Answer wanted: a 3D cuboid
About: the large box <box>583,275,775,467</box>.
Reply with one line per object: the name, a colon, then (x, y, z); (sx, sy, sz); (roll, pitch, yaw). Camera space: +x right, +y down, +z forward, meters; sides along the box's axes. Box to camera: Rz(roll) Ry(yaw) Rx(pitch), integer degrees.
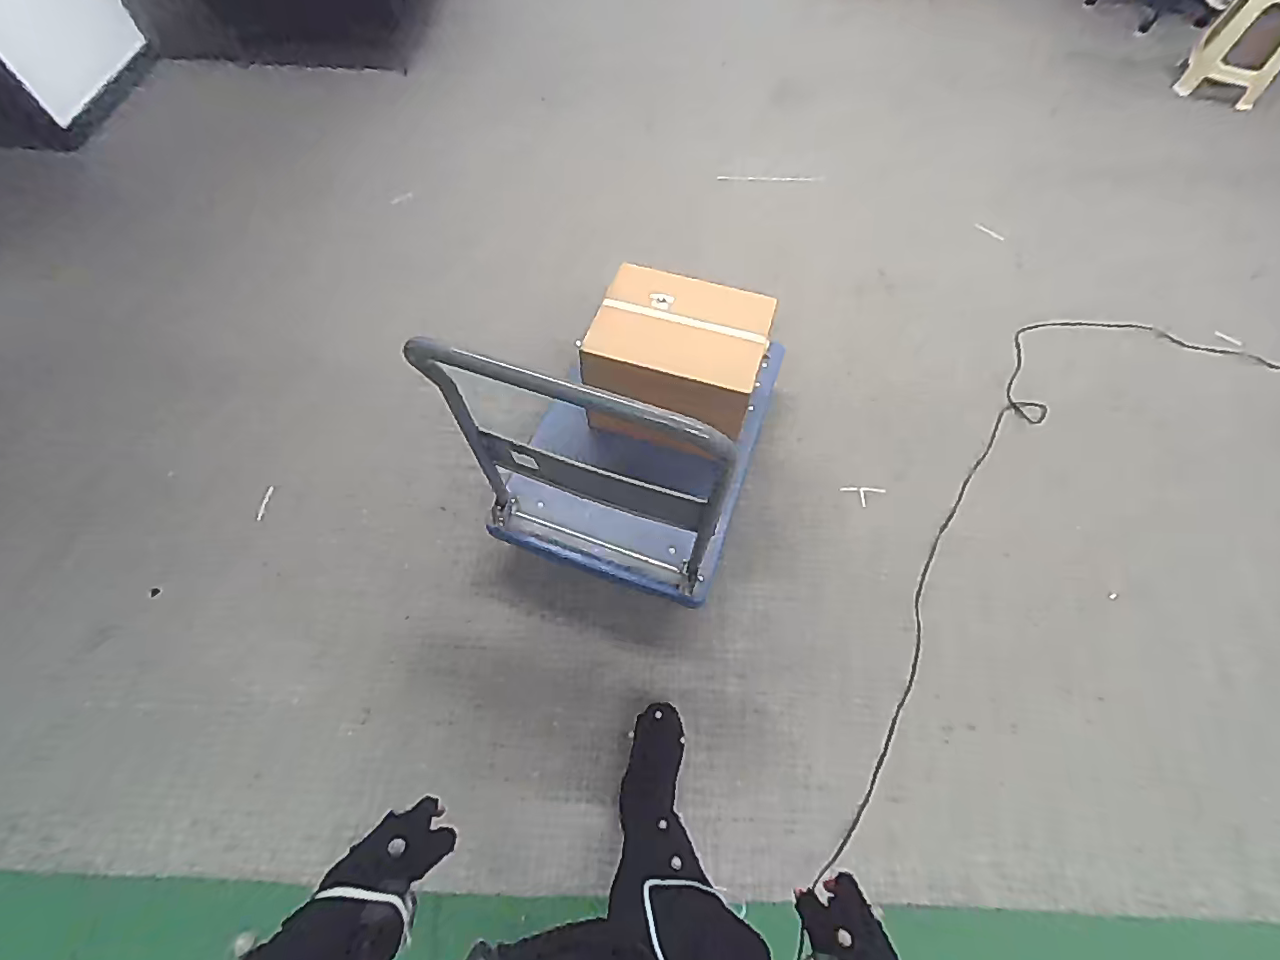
large box: (0.103, -0.277, 1.417); (0.408, 0.320, 0.320); (16, 61, 9)
